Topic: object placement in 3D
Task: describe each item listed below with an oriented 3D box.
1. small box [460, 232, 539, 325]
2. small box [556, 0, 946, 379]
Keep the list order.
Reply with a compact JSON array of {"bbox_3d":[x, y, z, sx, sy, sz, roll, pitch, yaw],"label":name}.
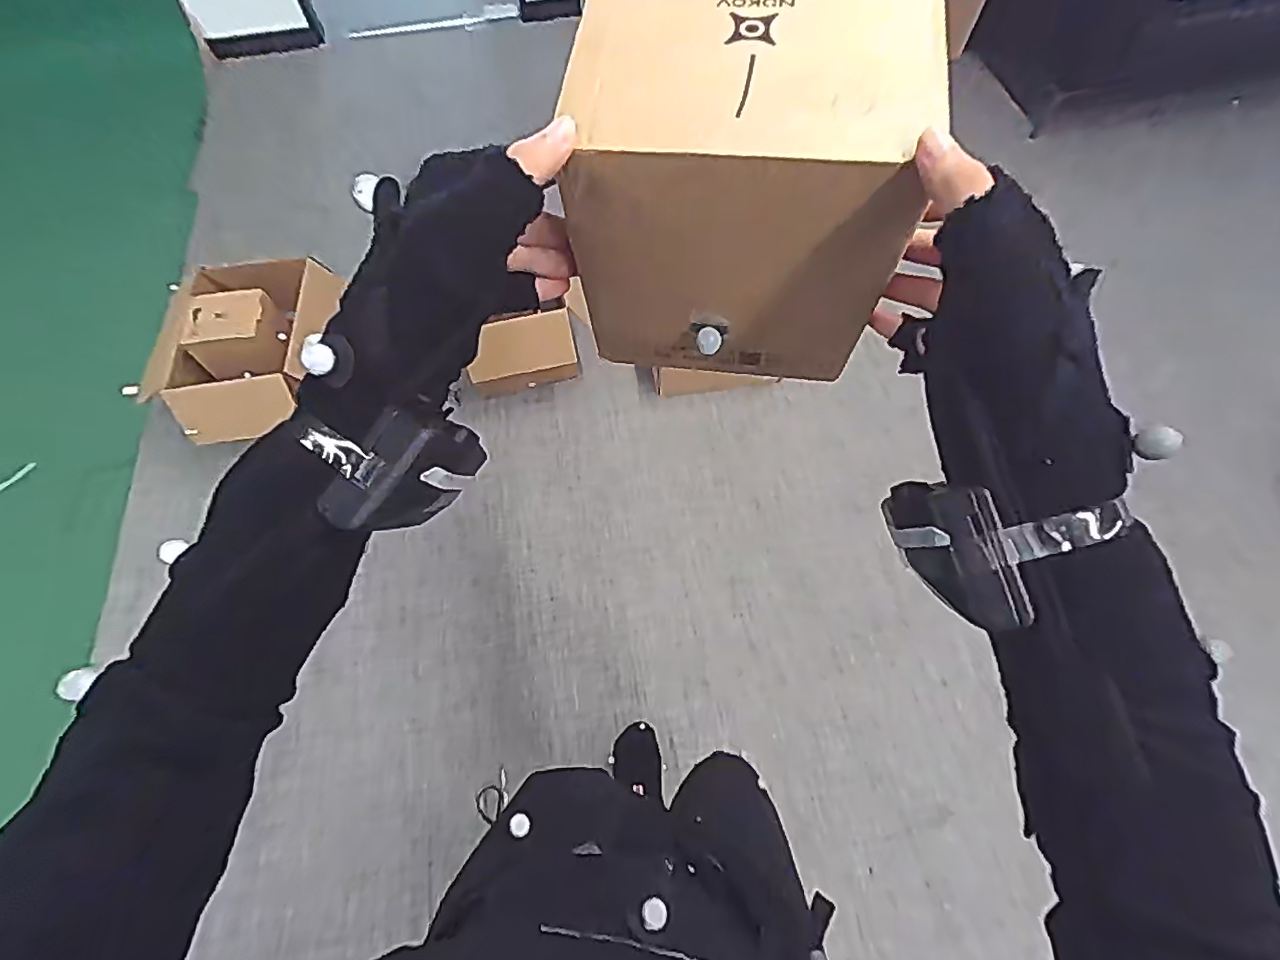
[{"bbox_3d":[-0.391,-0.558,1.524,0.168,0.176,0.179,-14,67,-7],"label":"small box"},{"bbox_3d":[0.061,-0.186,0.328,0.168,0.176,0.179,7,71,7],"label":"small box"}]
